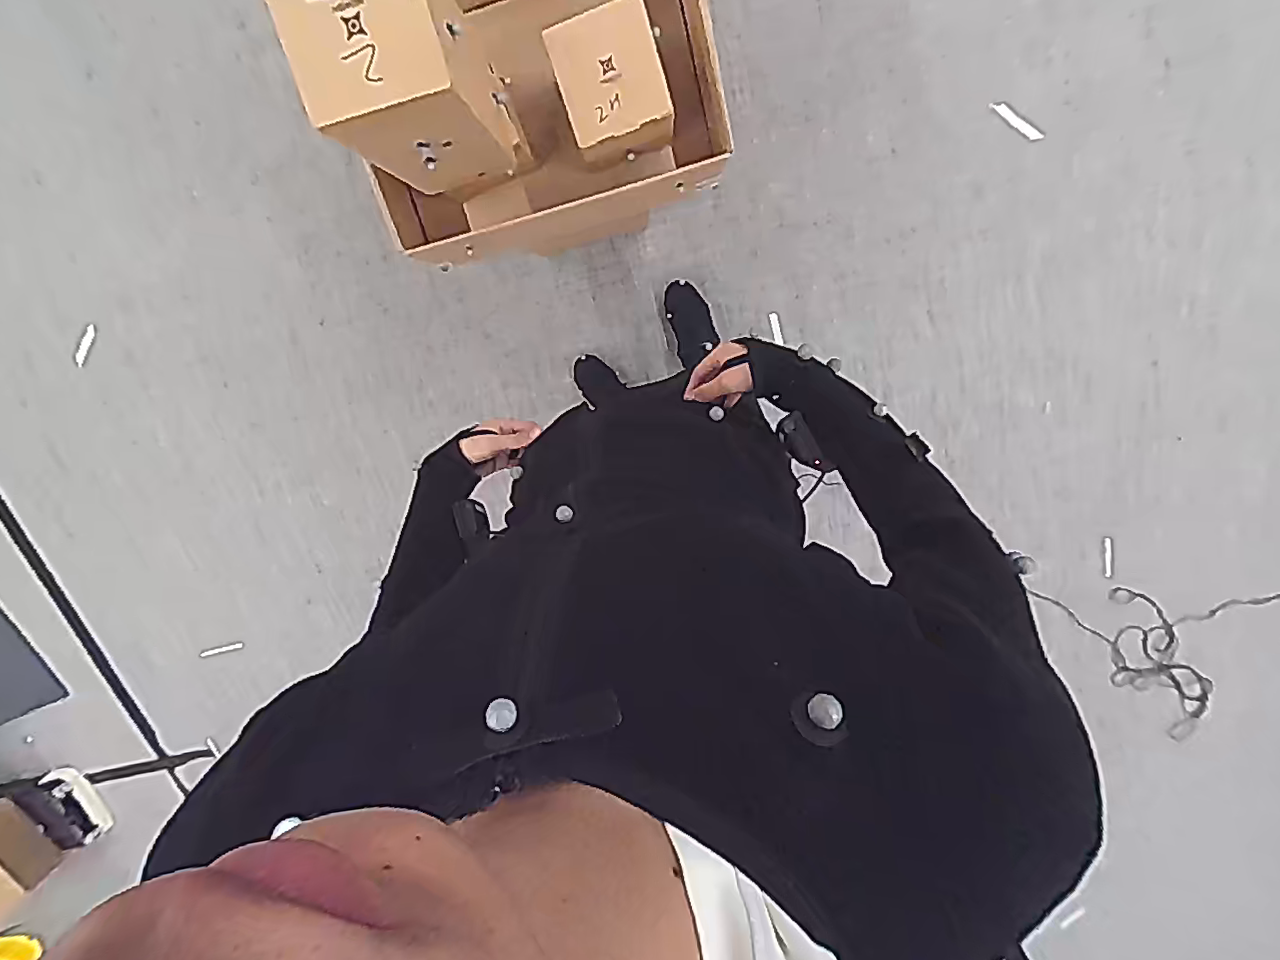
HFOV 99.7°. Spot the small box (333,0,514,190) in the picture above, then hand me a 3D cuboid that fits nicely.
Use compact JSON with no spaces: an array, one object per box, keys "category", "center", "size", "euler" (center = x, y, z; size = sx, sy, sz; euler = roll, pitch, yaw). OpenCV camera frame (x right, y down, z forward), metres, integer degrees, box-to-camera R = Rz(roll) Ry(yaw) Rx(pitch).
[{"category":"small box","center":[-0.303,-0.559,0.798],"size":[0.168,0.176,0.179],"euler":[-14,105,5]}]
